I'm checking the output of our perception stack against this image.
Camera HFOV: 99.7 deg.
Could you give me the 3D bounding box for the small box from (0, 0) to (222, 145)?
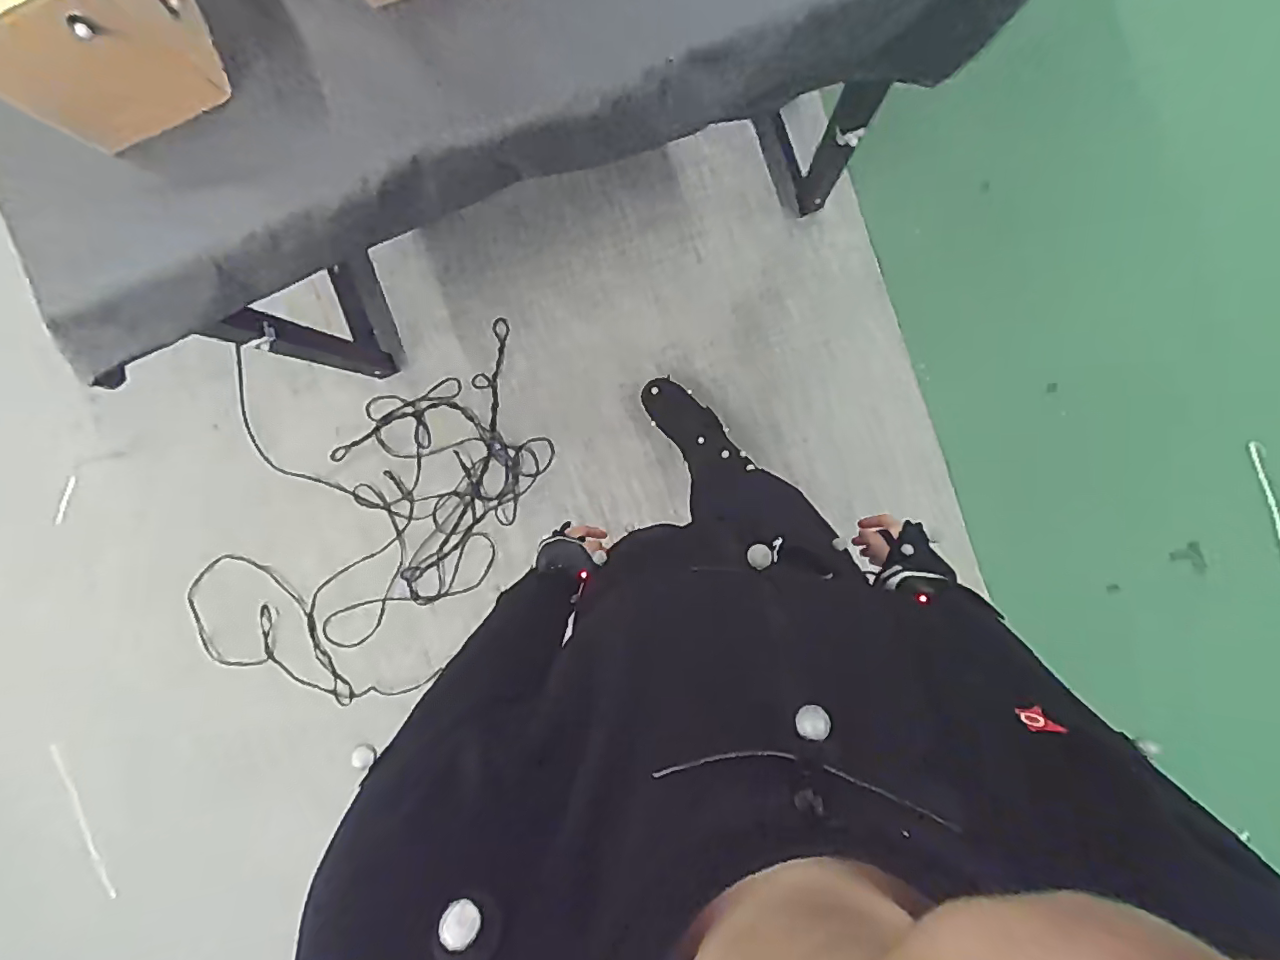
[{"bbox_3d":[-0.596,-0.491,0.556,0.179,0.176,0.168,-22,91,4],"label":"small box"}]
